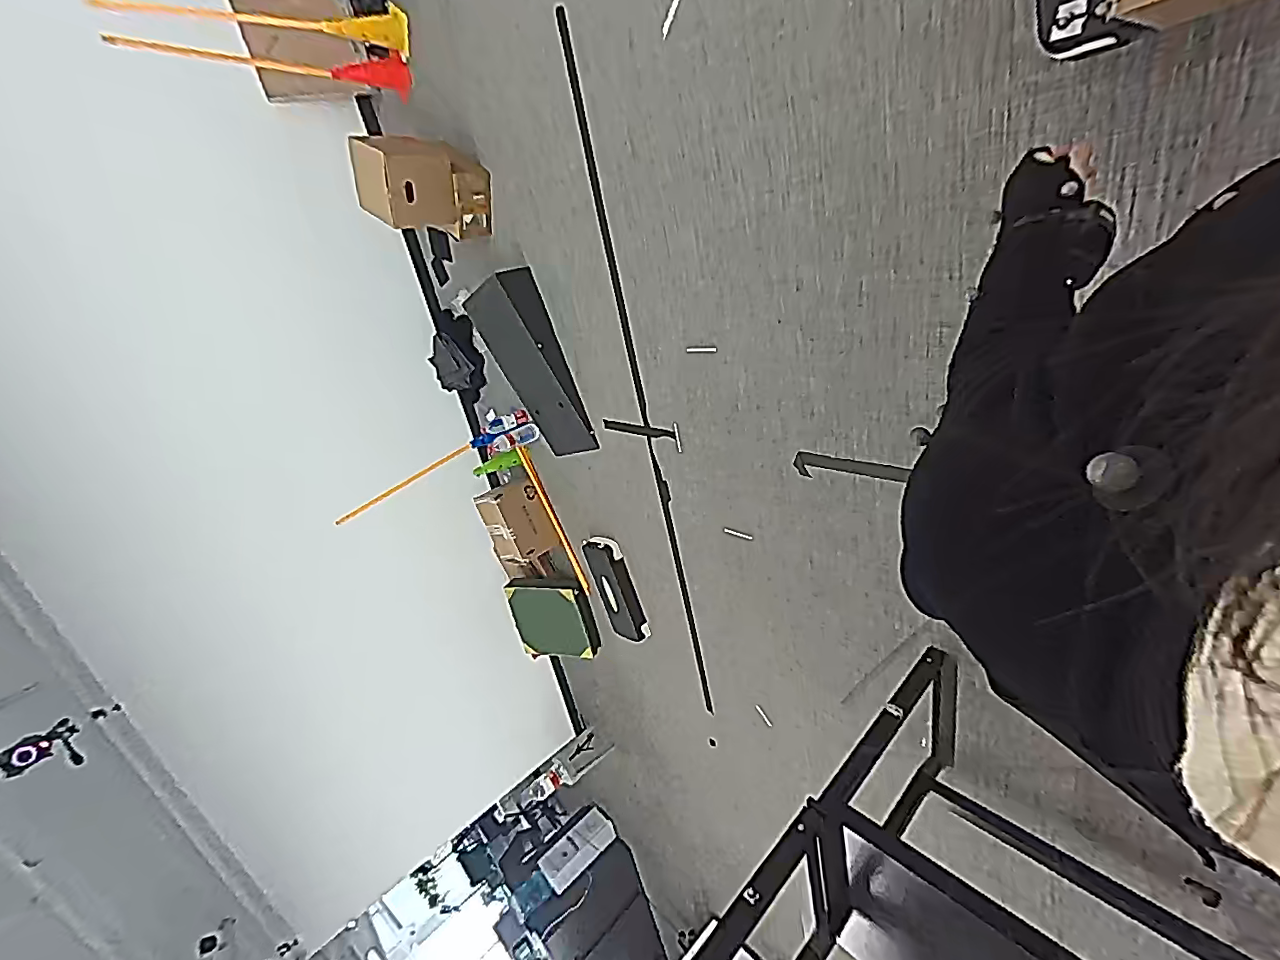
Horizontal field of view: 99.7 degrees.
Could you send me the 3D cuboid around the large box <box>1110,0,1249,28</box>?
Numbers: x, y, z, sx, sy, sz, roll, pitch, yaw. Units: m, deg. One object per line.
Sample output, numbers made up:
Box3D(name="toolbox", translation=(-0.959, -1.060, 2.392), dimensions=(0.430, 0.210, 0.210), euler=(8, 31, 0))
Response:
Box3D(name="large box", translation=(0.785, -0.736, 0.543), dimensions=(0.408, 0.320, 0.320), euler=(14, 124, 49))
